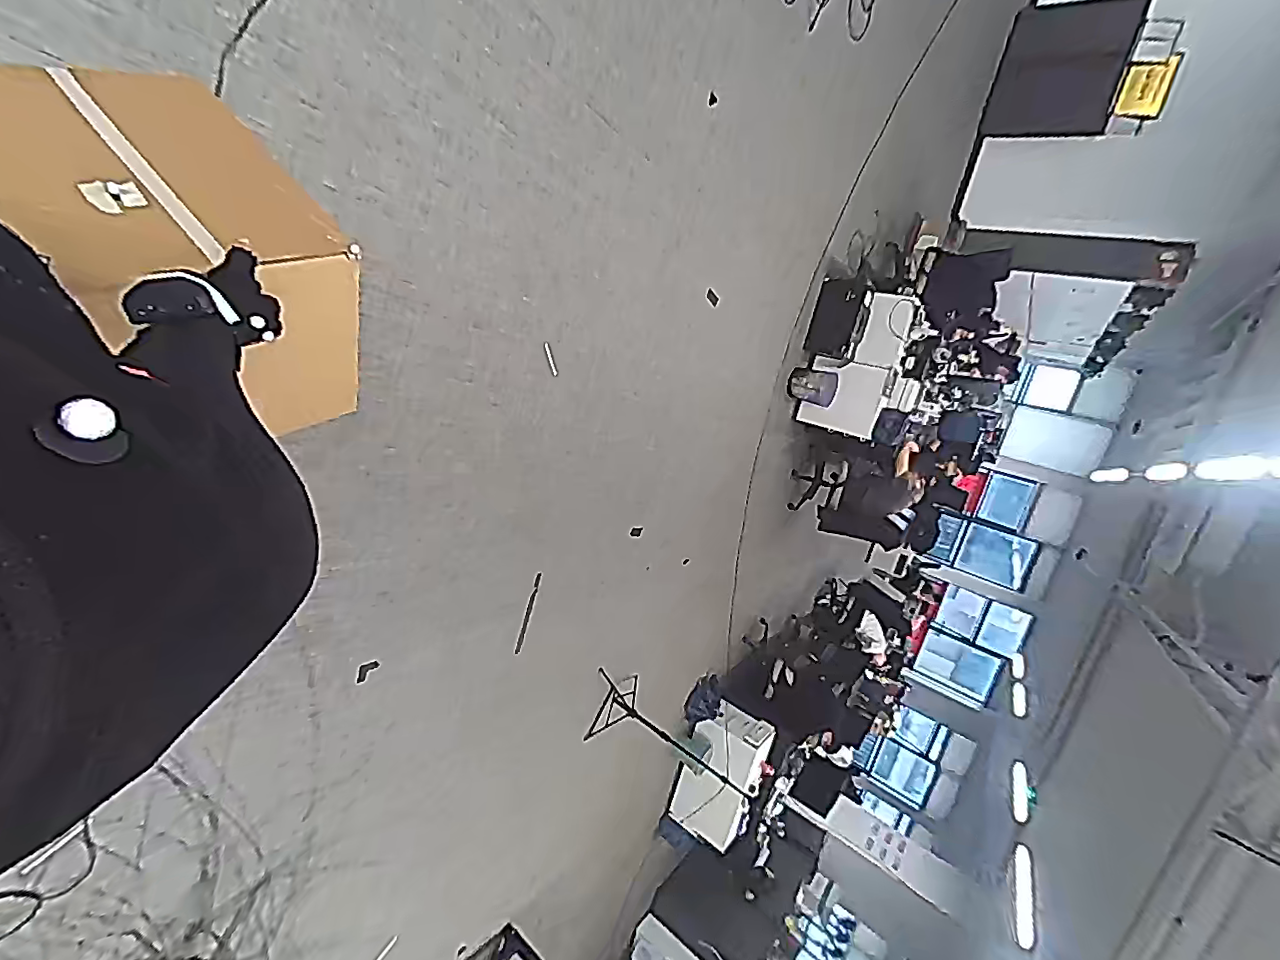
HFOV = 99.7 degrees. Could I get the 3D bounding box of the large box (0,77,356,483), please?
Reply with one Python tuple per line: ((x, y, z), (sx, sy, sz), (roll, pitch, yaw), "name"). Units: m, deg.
((-0.666, -0.277, 0.757), (0.320, 0.408, 0.320), (-35, 167, -41), "large box")
